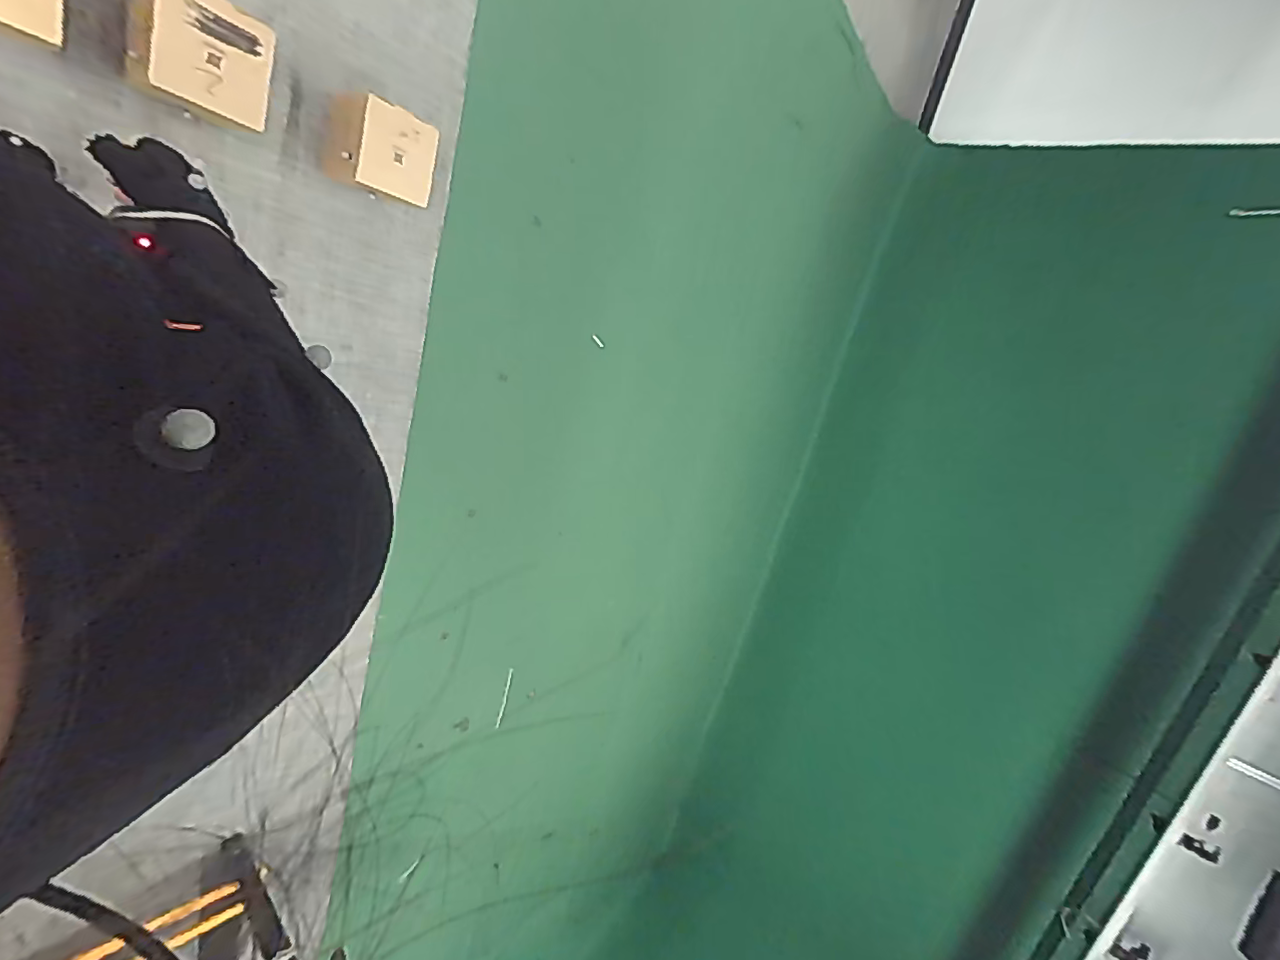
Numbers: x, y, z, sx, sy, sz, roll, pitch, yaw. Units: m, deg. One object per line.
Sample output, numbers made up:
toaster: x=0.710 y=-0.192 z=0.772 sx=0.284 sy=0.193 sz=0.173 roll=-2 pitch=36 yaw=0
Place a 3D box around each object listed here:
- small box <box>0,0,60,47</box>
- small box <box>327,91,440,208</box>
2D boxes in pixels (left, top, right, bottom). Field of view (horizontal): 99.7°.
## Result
small box: x=-0.947 y=-0.757 z=0.766 sx=0.168 sy=0.176 sz=0.179 roll=-2 pitch=112 yaw=-51
small box: x=-0.591 y=-0.750 z=1.236 sx=0.168 sy=0.176 sz=0.179 roll=-2 pitch=113 yaw=-53
